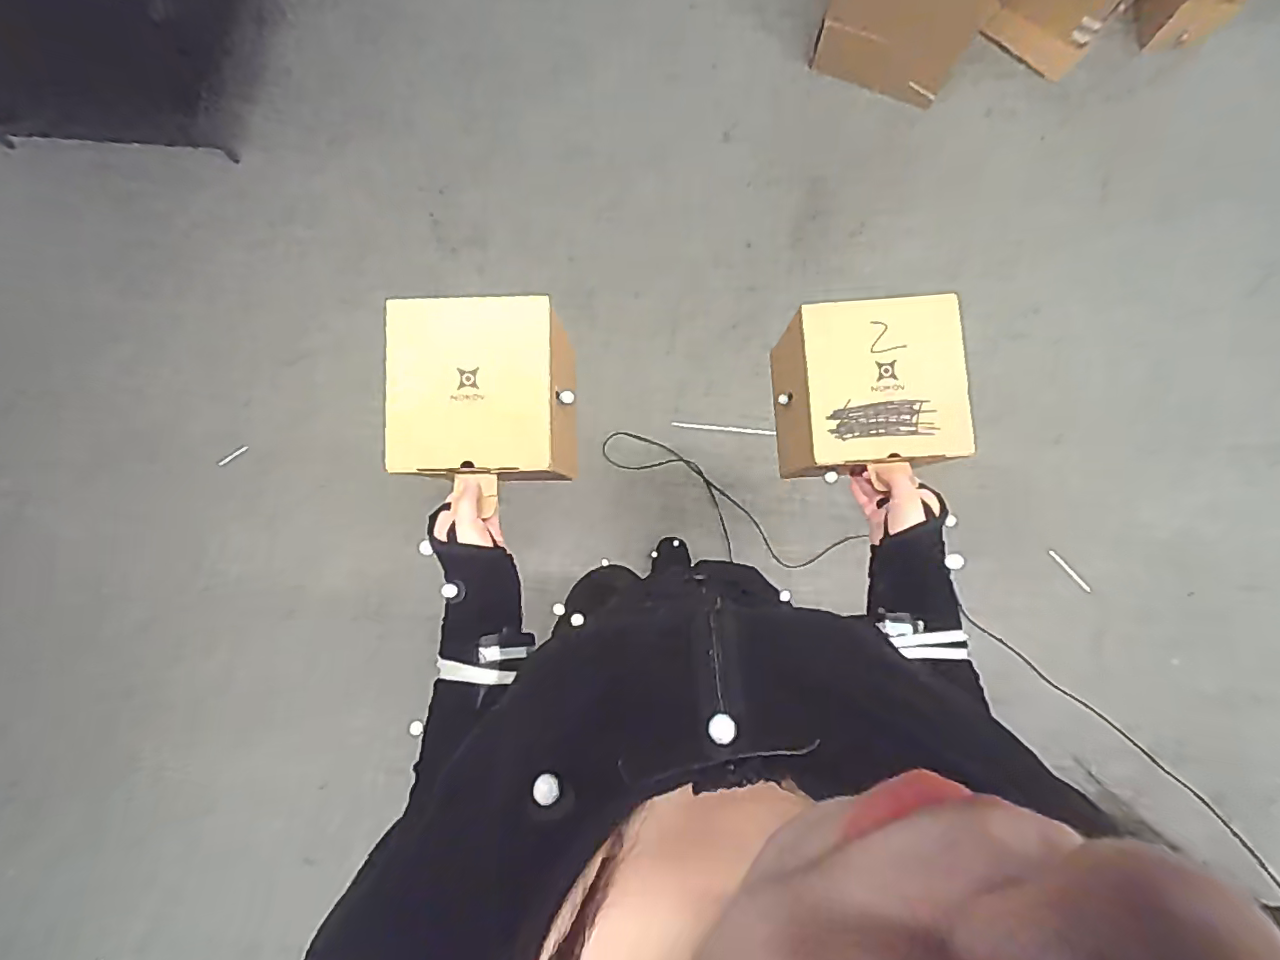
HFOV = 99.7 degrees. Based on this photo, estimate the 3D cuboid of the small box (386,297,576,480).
[{"bbox_3d":[-0.166,-0.091,0.613,0.168,0.176,0.179,0,88,1],"label":"small box"}]
